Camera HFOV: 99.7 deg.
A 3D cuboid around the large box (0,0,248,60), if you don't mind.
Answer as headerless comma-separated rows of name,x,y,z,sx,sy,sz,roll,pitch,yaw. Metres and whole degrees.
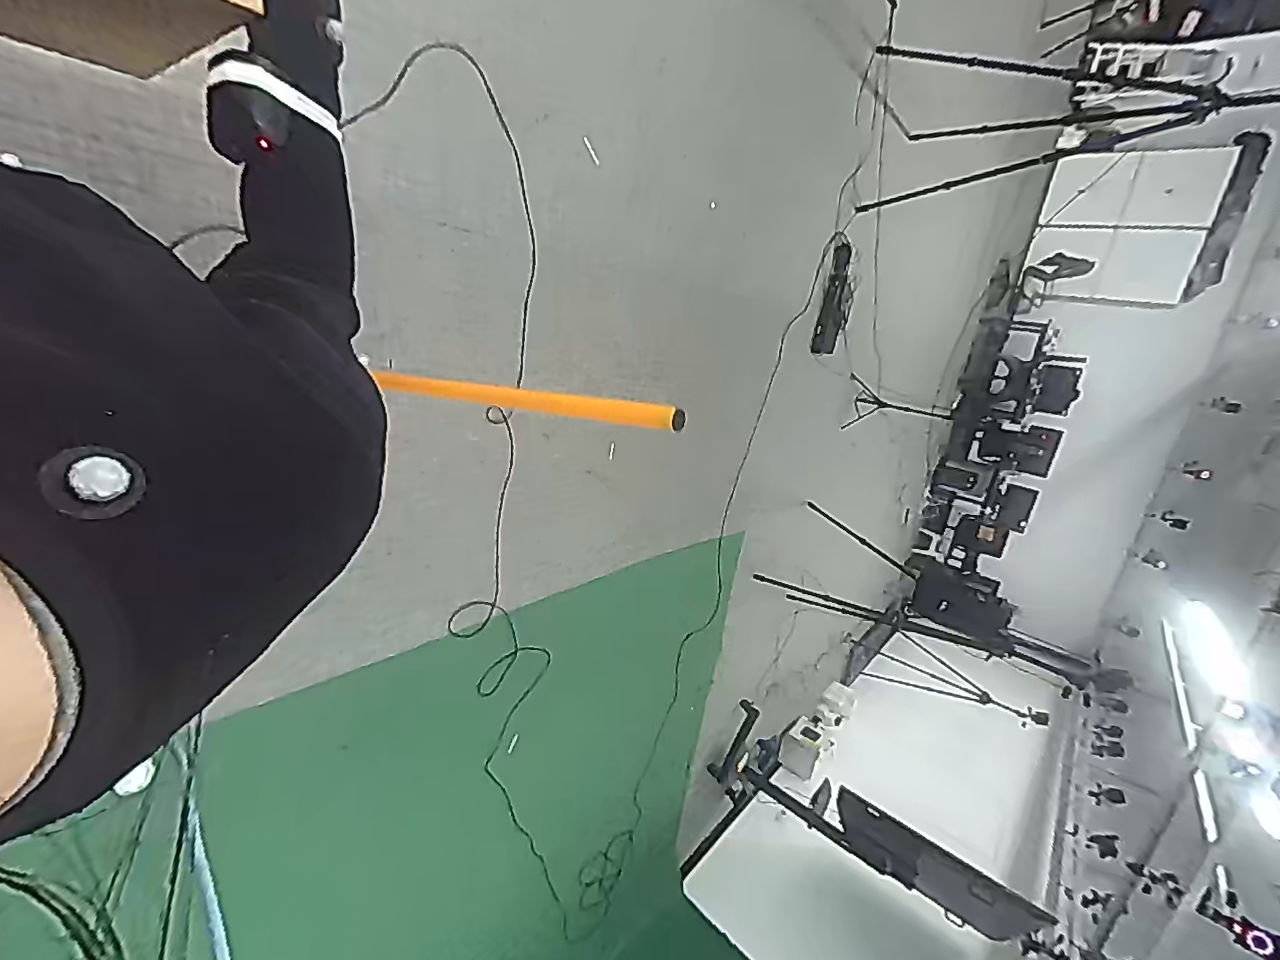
large box,-0.512,-0.502,0.293,0.408,0.320,0.320,-17,118,-50
